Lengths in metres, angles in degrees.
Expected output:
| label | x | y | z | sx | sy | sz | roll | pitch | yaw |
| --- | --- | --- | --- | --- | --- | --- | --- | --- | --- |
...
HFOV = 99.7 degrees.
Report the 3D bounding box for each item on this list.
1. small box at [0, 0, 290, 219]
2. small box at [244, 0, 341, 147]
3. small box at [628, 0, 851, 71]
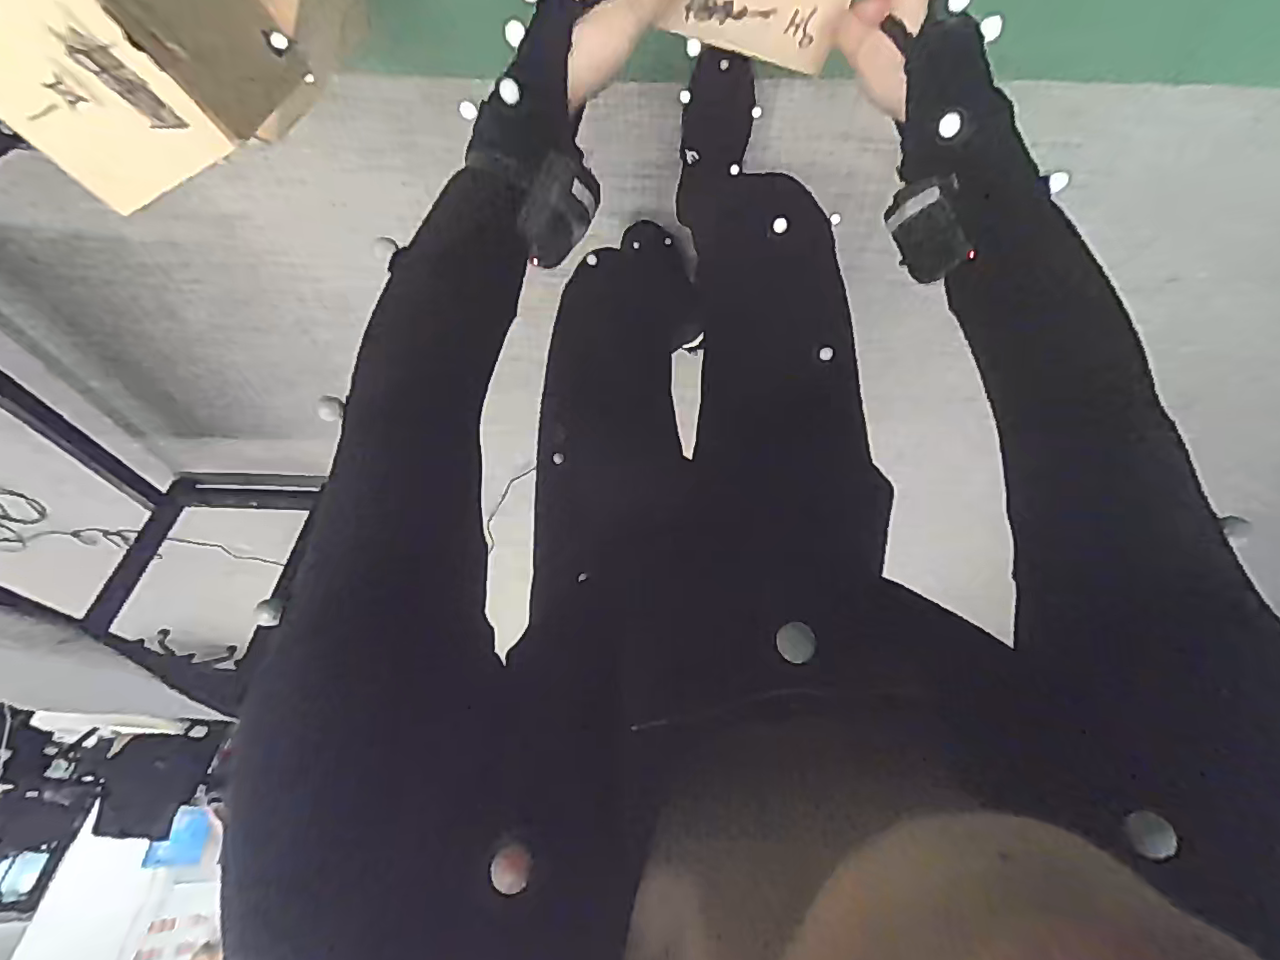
| label | x | y | z | sx | sy | sz | roll | pitch | yaw |
| --- | --- | --- | --- | --- | --- | --- | --- | --- | --- |
| small box | -0.450 | -0.375 | 0.474 | 0.179 | 0.176 | 0.168 | -11 | 144 | 21 |
| small box | -0.434 | -0.510 | 0.567 | 0.168 | 0.176 | 0.179 | 24 | 139 | -29 |
| small box | 0.082 | -0.452 | 0.399 | 0.168 | 0.176 | 0.179 | 6 | 141 | -14 |
